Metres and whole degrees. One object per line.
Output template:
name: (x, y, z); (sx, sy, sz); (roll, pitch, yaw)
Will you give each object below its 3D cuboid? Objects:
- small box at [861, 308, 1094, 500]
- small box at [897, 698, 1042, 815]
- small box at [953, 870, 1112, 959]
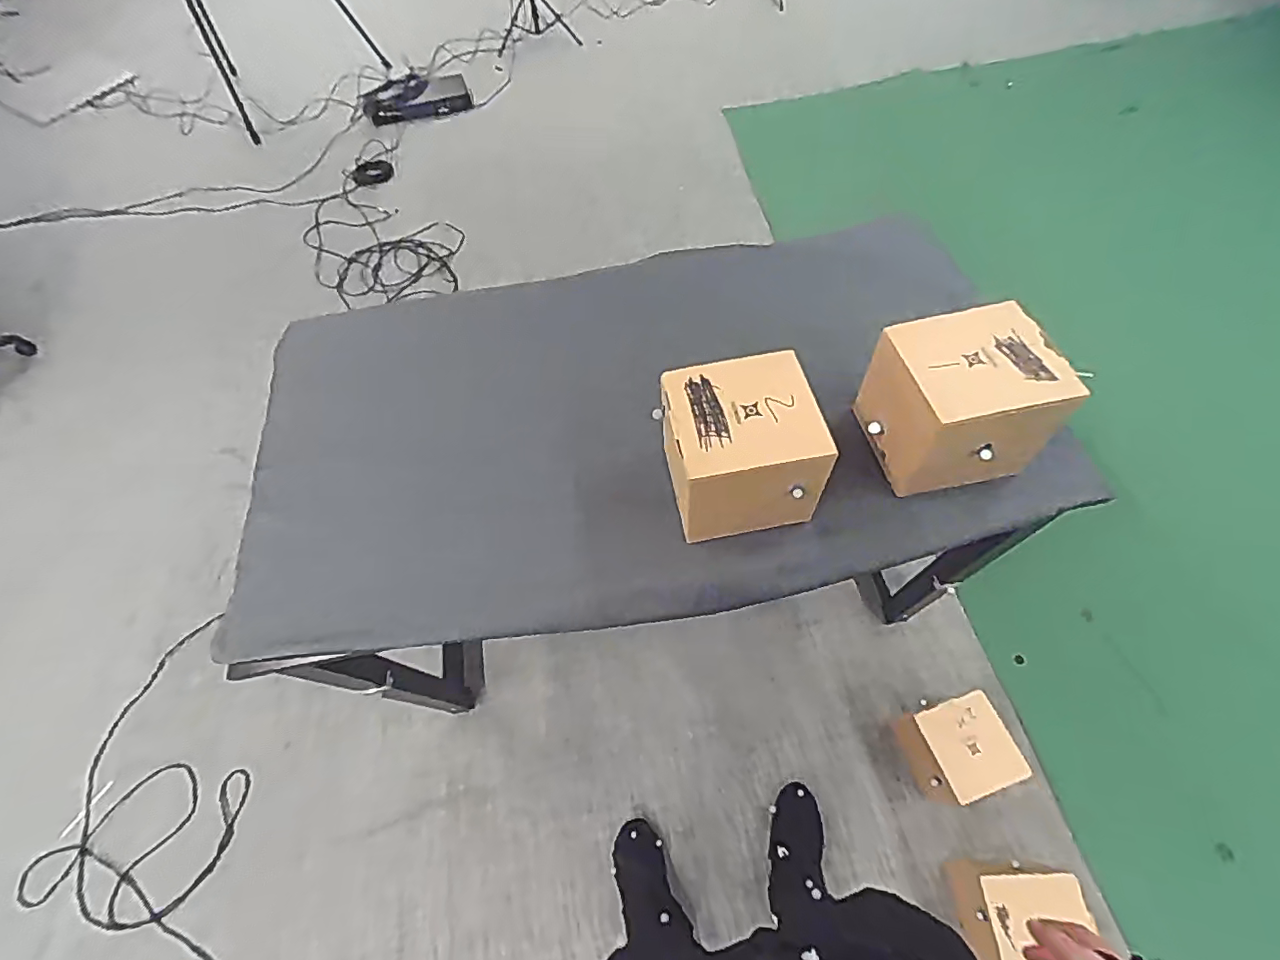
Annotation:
small box: (0.420, -0.093, 0.713); (0.179, 0.176, 0.168); (-11, 57, 1)
small box: (0.690, 0.587, 1.154); (0.168, 0.176, 0.179); (-18, 61, -5)
small box: (0.729, 0.843, 1.012); (0.179, 0.176, 0.168); (-3, 62, 4)
